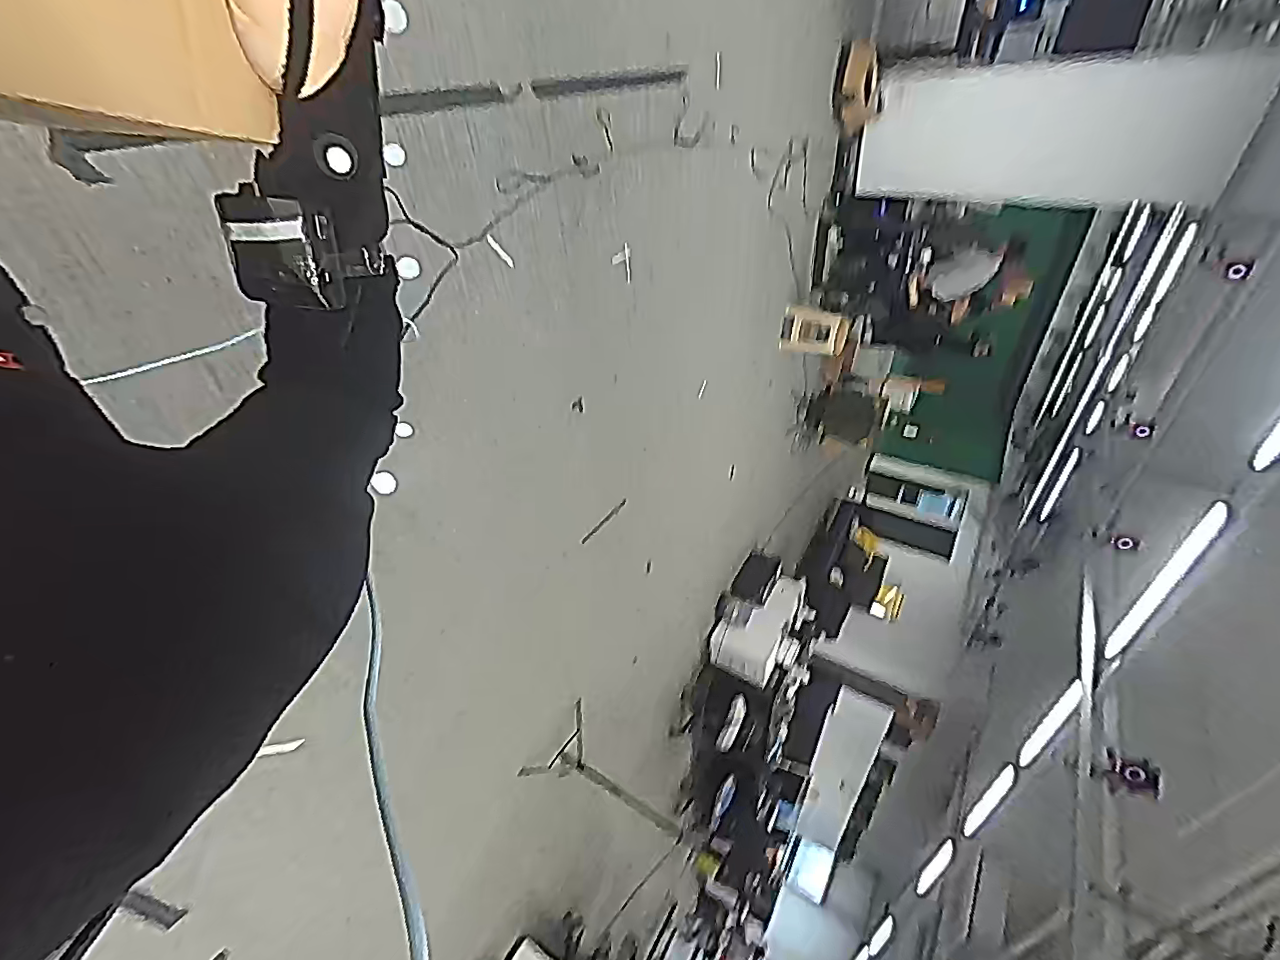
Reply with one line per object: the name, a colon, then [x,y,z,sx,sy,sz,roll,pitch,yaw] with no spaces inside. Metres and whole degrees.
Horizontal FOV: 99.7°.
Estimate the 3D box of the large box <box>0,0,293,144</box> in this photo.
large box: [-0.405,-0.312,0.148,0.408,0.320,0.320,-29,134,-53]
